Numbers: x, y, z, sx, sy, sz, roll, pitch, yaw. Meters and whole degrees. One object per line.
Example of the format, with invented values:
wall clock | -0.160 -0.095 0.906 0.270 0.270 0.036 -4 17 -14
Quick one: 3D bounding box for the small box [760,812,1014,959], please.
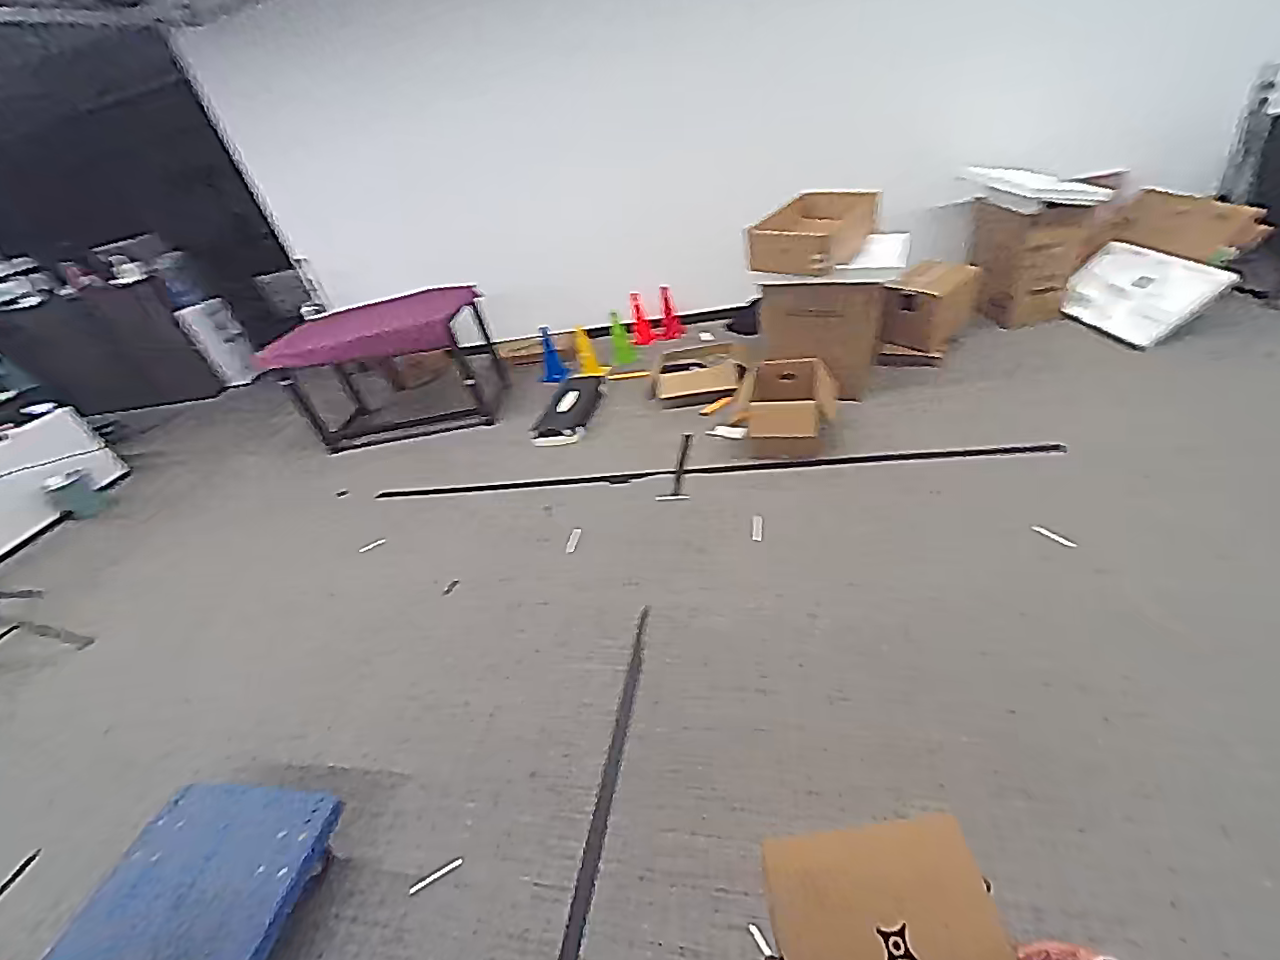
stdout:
small box | 0.200 0.410 0.452 0.168 0.176 0.179 -11 43 2
